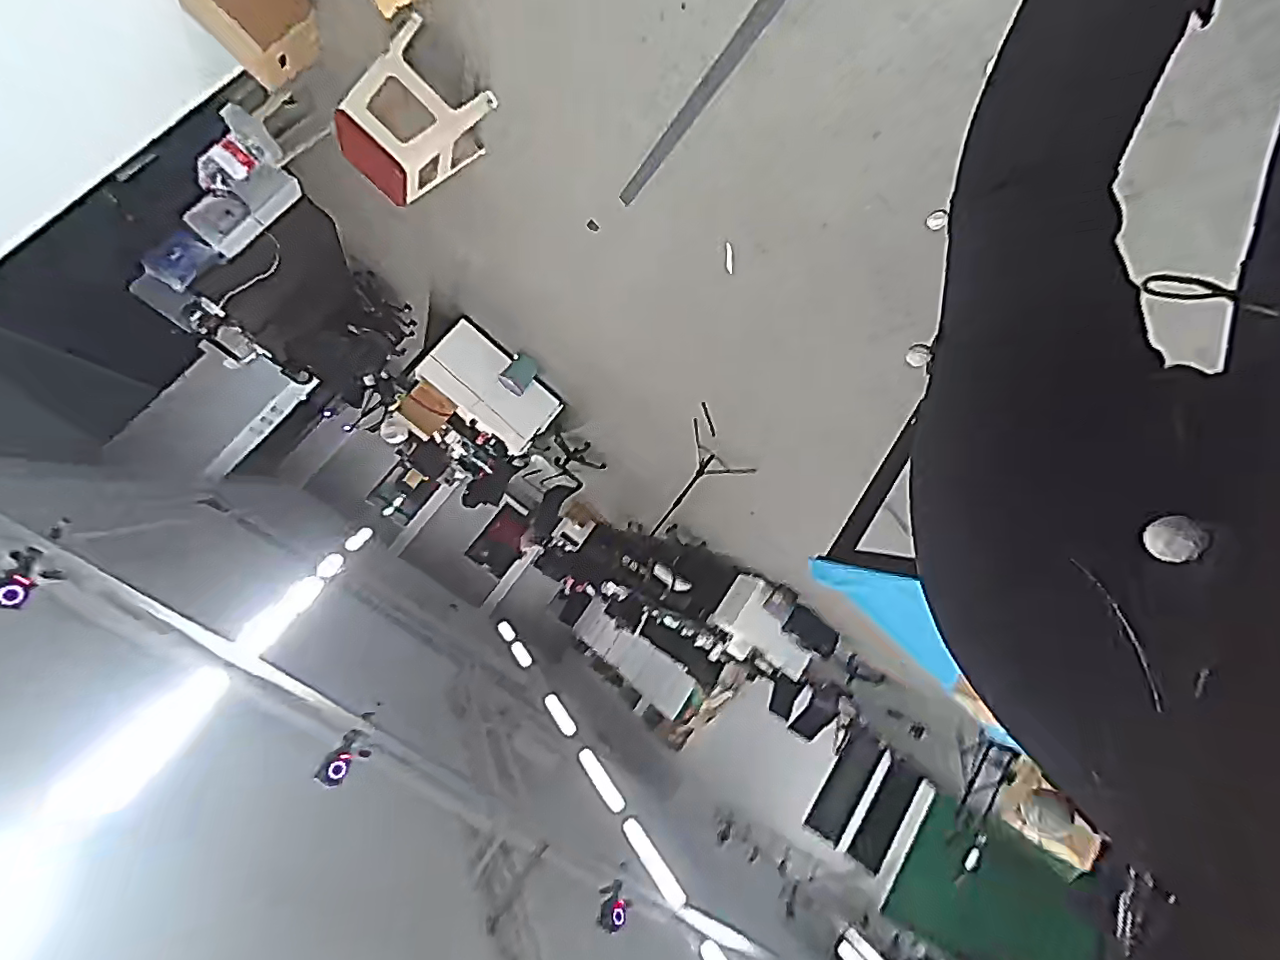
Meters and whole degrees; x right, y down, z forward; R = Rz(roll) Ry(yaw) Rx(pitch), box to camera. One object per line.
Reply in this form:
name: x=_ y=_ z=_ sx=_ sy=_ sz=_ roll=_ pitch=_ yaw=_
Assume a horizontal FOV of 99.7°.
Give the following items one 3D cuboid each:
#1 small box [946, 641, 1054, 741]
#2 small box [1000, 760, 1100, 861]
small box: x=1.014 y=0.584 z=1.519 sx=0.179 sy=0.176 sz=0.168 roll=41 pitch=165 yaw=-17
small box: x=1.226 y=0.996 z=1.628 sx=0.179 sy=0.176 sz=0.168 roll=42 pitch=165 yaw=-17
